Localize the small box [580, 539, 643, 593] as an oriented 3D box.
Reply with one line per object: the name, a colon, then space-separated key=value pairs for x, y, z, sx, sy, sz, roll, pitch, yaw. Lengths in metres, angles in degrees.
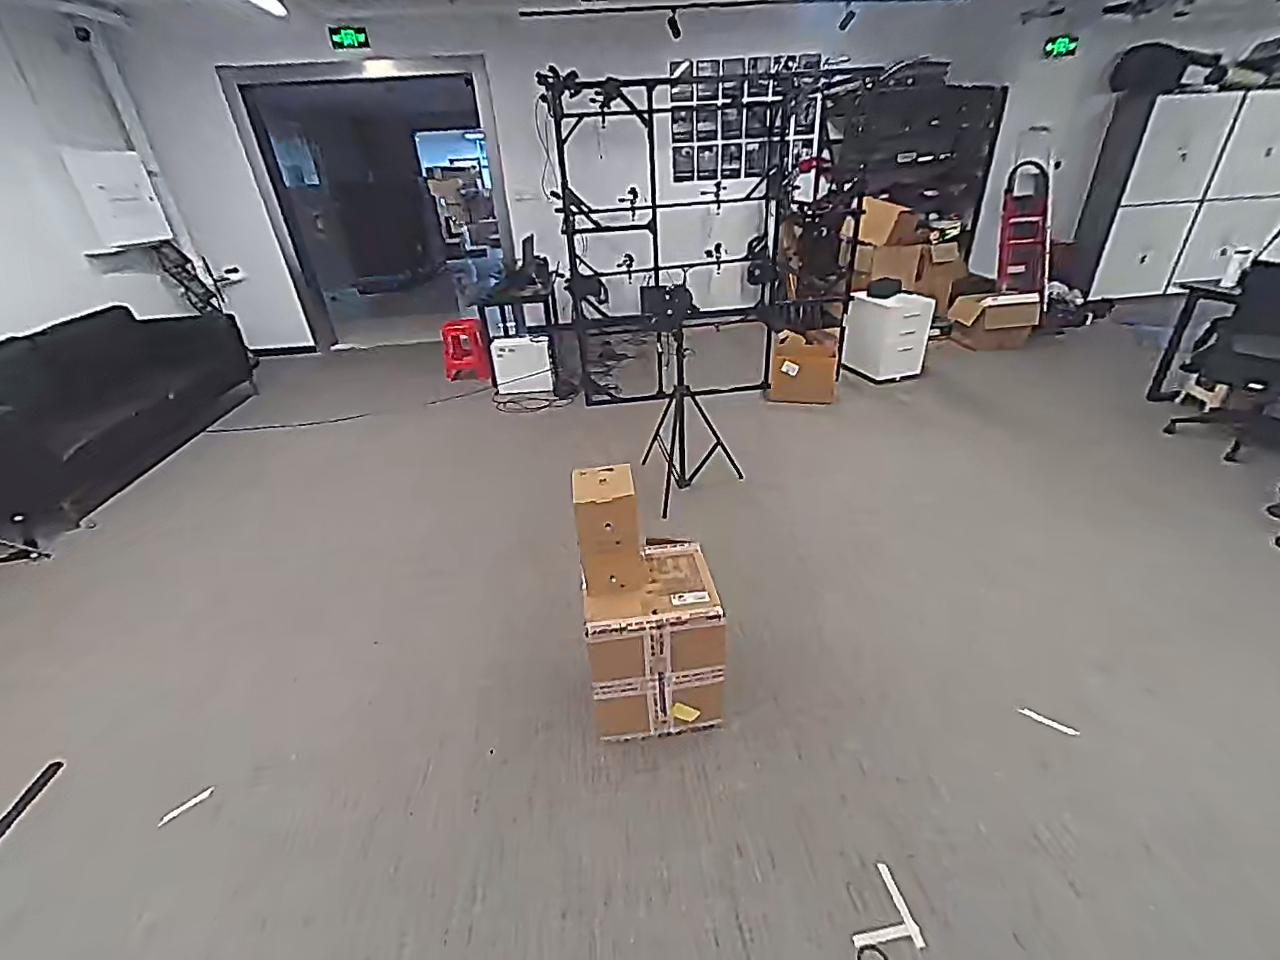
small box: x=-0.088 y=0.211 z=1.614 sx=0.168 sy=0.176 sz=0.179 roll=-9 pitch=32 yaw=-4

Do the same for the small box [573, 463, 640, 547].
small box: x=-0.095 y=0.076 z=1.520 sx=0.168 sy=0.176 sz=0.179 roll=-8 pitch=33 yaw=-3
